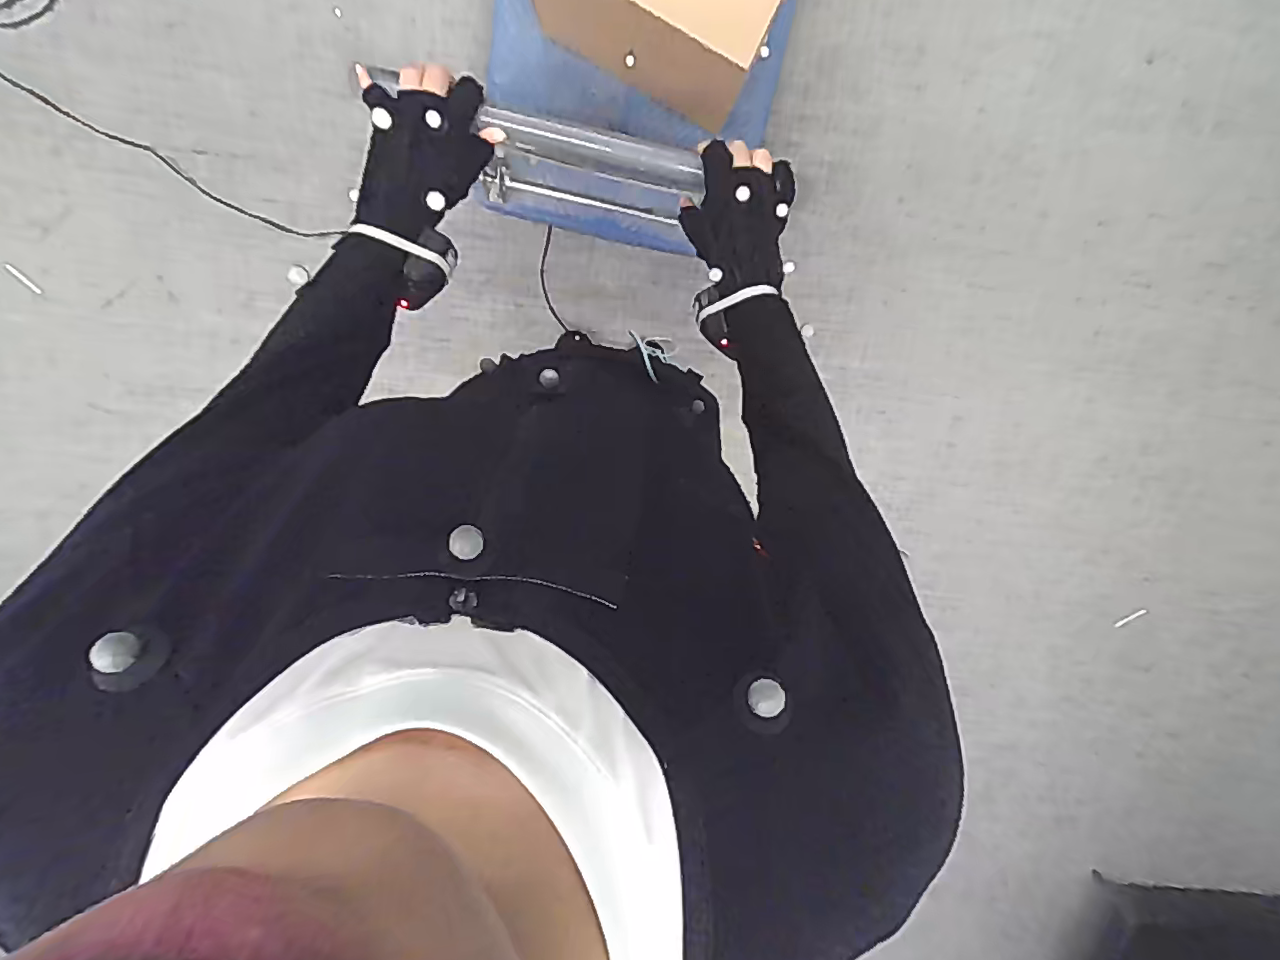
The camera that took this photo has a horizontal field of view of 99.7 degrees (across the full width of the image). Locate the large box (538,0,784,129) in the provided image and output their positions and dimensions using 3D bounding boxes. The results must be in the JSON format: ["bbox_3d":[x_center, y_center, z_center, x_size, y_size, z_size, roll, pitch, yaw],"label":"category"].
[{"bbox_3d":[0.058,-0.893,0.920,0.408,0.320,0.320,26,104,-8],"label":"large box"}]
